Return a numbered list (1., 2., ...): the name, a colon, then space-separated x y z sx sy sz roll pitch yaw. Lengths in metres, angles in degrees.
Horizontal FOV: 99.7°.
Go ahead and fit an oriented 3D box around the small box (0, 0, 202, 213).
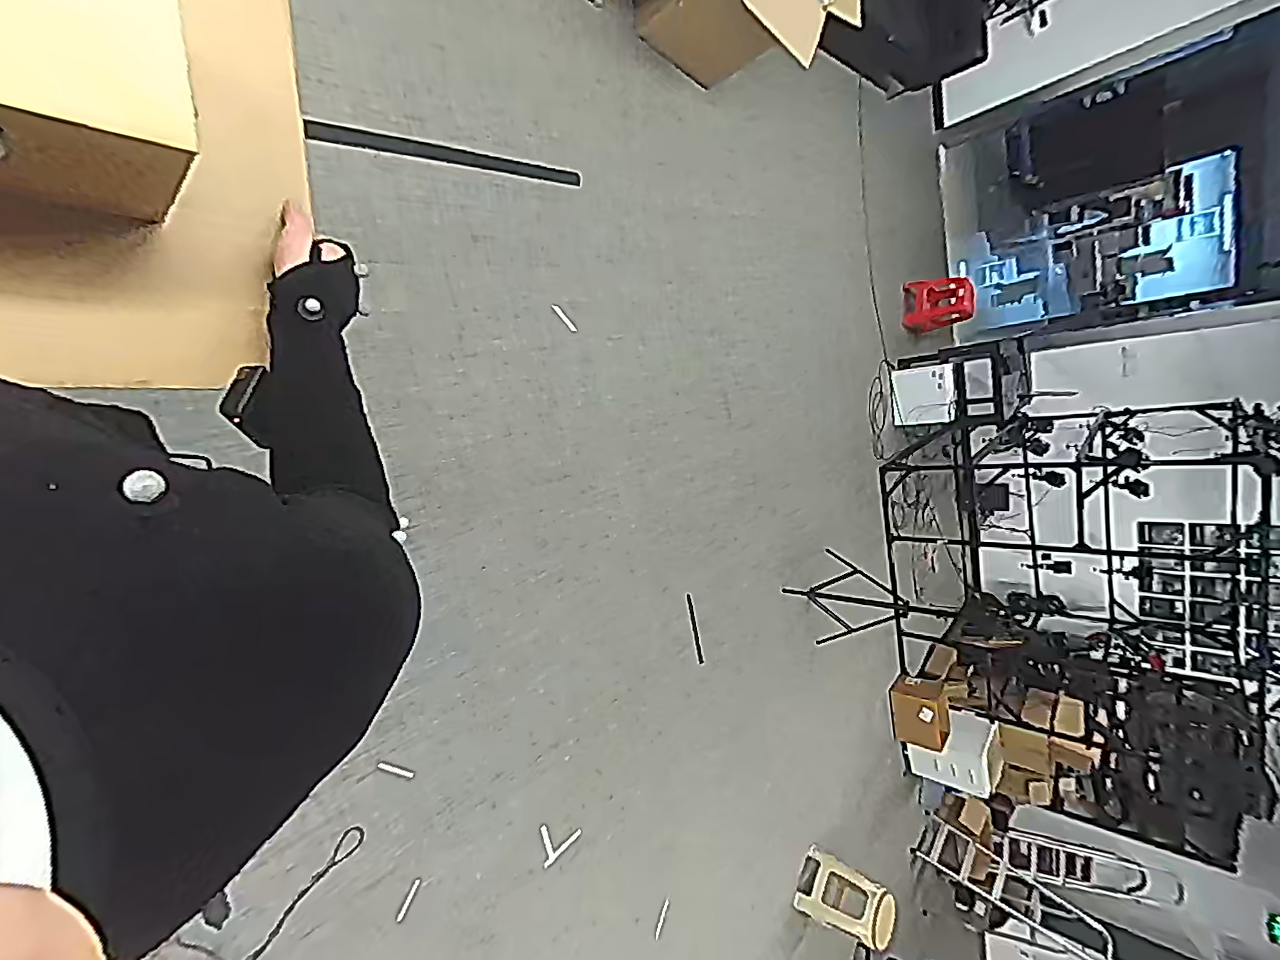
1. small box: -0.430 -0.299 0.363 0.179 0.176 0.168 -10 100 -46
